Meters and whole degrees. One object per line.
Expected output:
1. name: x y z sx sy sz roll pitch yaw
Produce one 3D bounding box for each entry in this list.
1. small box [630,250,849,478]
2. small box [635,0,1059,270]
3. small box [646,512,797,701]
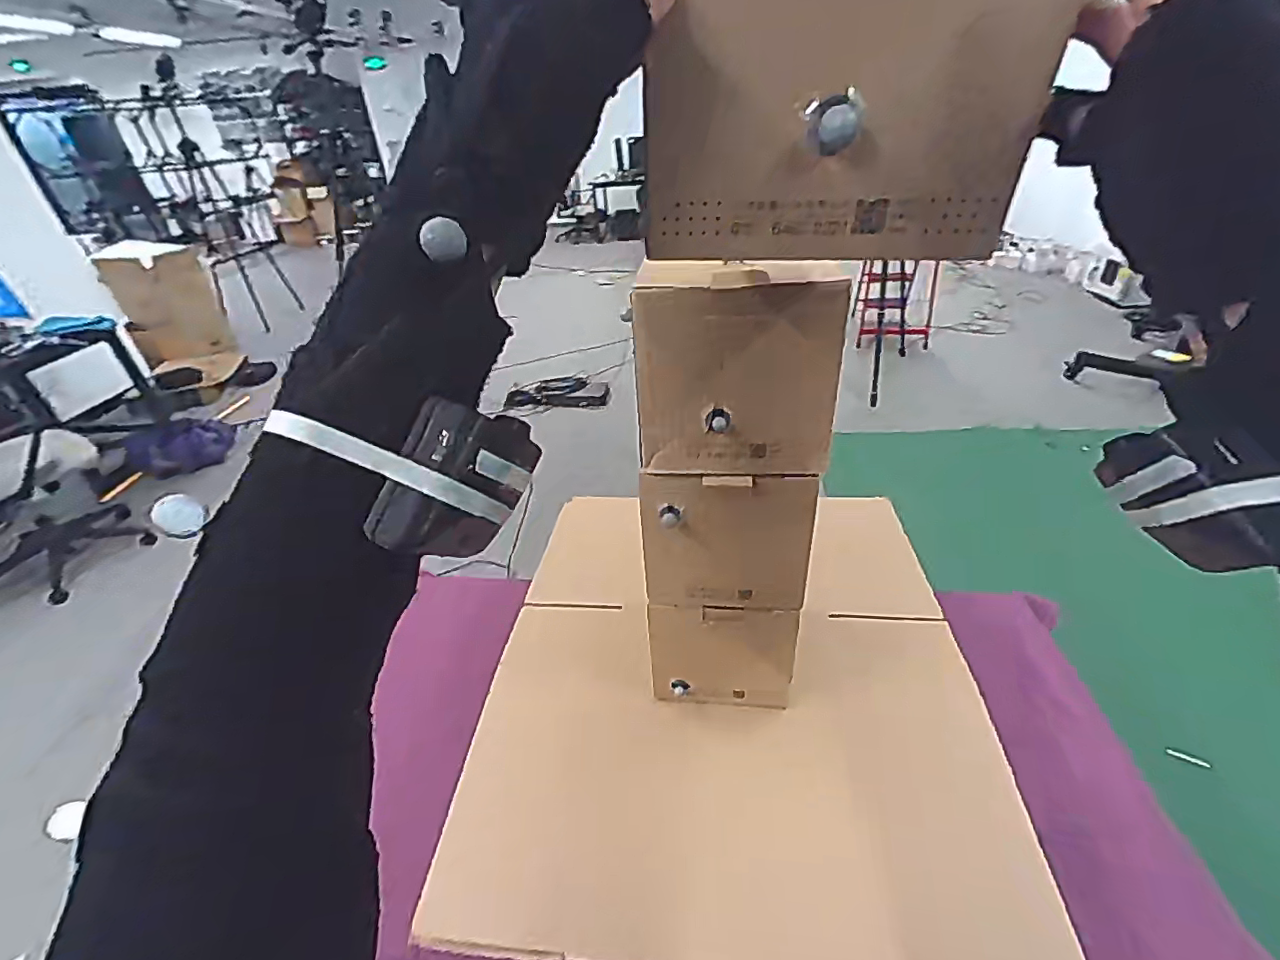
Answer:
1. small box: 0.085 -0.118 0.516 0.168 0.176 0.179 0 33 6
2. small box: 0.086 -0.222 0.285 0.168 0.176 0.179 2 38 6
3. small box: 0.104 0.159 0.692 0.168 0.176 0.179 0 33 8
